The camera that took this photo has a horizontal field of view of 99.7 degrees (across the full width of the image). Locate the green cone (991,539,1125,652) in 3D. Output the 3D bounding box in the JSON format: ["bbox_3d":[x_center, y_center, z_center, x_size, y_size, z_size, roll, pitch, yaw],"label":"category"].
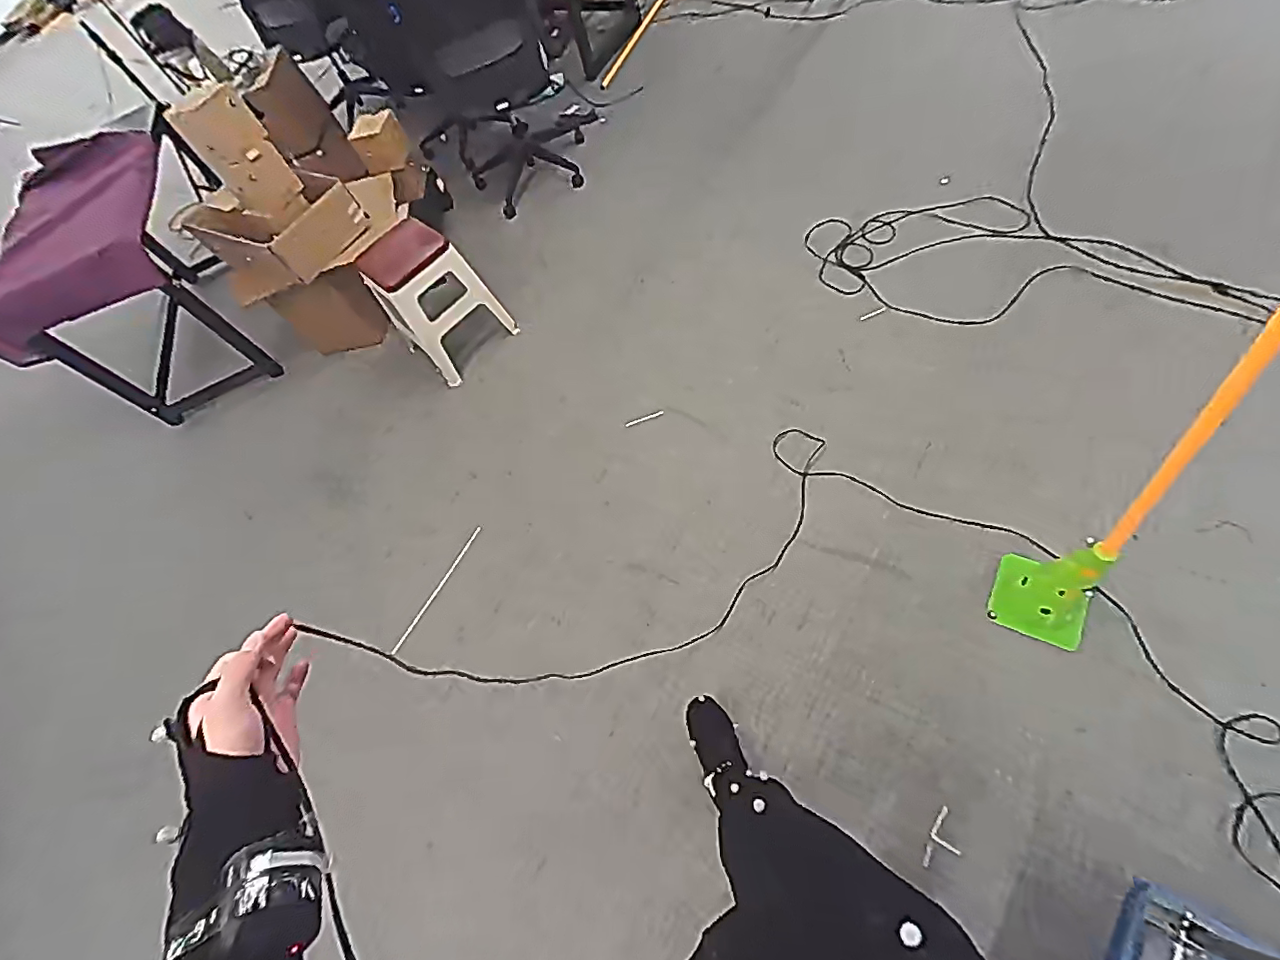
[{"bbox_3d":[0.972,0.225,1.211,0.200,0.368,0.202,20,68,24],"label":"green cone"}]
